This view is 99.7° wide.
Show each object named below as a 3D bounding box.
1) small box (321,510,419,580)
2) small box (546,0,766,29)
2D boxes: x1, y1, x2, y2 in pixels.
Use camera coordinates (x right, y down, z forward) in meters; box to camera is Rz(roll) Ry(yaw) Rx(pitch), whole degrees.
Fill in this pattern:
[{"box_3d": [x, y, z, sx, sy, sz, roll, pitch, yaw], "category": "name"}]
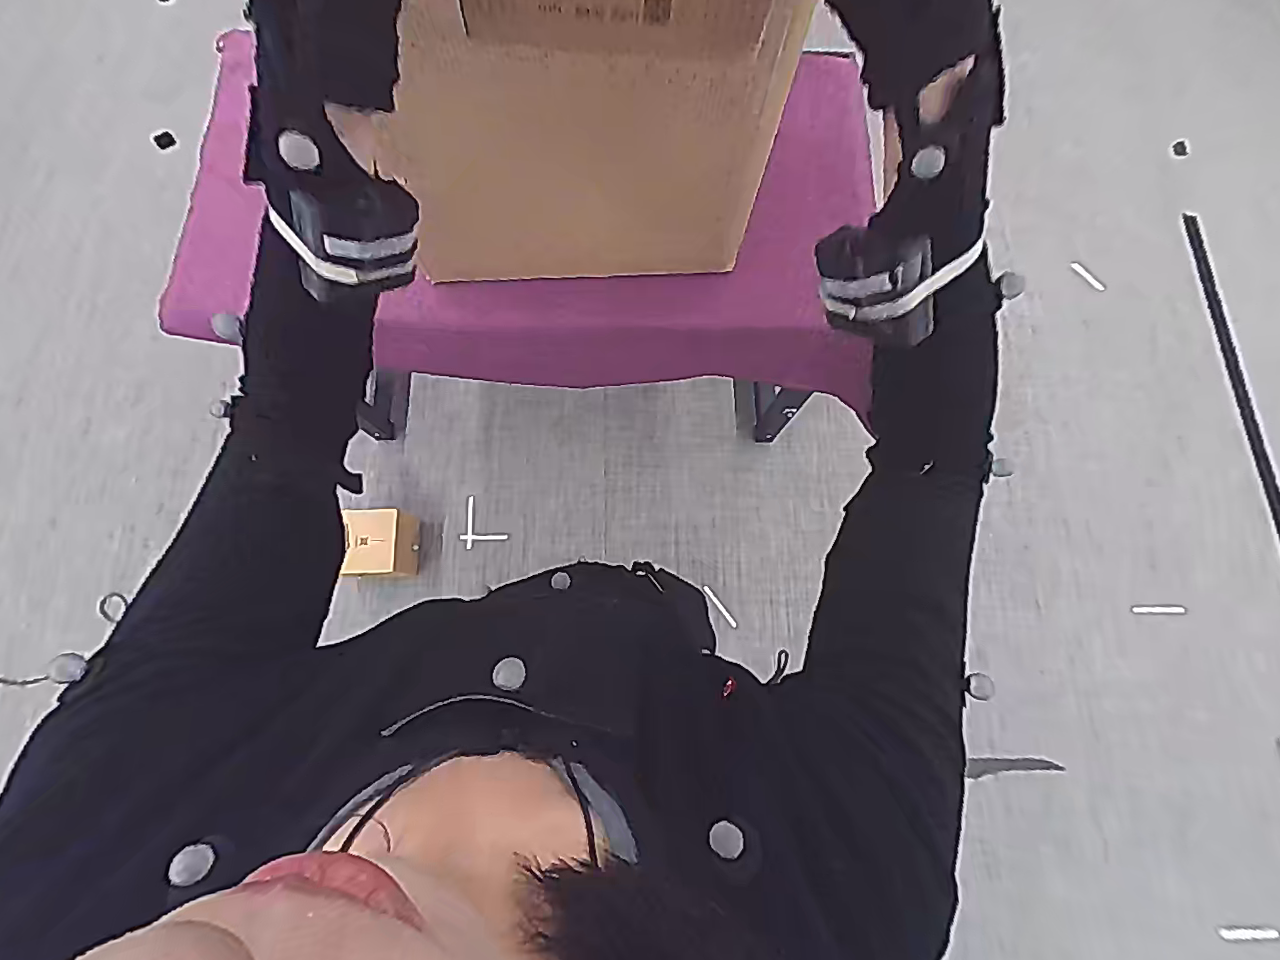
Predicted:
[{"box_3d": [-0.713, 0.177, 1.443, 0.179, 0.176, 0.168, -1, 76, -3], "category": "small box"}, {"box_3d": [-0.005, -0.353, 0.243, 0.168, 0.176, 0.179, 0, 74, -6], "category": "small box"}]
